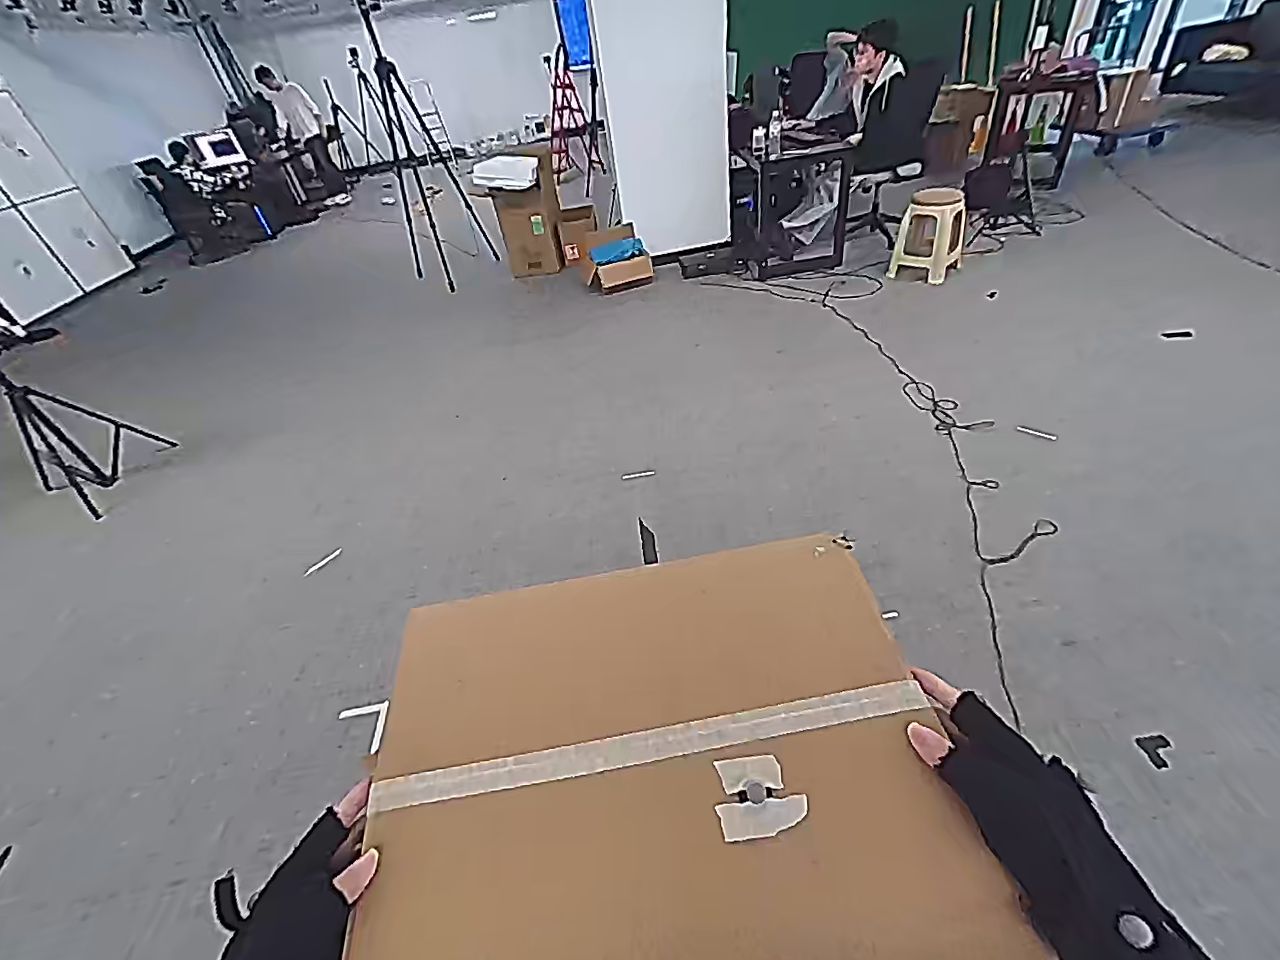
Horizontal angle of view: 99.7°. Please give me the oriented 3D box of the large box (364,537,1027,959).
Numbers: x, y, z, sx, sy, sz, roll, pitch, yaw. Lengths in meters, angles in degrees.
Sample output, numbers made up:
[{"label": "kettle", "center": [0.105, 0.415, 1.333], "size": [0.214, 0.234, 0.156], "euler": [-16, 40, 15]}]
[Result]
[{"label": "large box", "center": [0.024, 0.299, 0.514], "size": [0.408, 0.320, 0.320], "euler": [-10, 46, -1]}]
